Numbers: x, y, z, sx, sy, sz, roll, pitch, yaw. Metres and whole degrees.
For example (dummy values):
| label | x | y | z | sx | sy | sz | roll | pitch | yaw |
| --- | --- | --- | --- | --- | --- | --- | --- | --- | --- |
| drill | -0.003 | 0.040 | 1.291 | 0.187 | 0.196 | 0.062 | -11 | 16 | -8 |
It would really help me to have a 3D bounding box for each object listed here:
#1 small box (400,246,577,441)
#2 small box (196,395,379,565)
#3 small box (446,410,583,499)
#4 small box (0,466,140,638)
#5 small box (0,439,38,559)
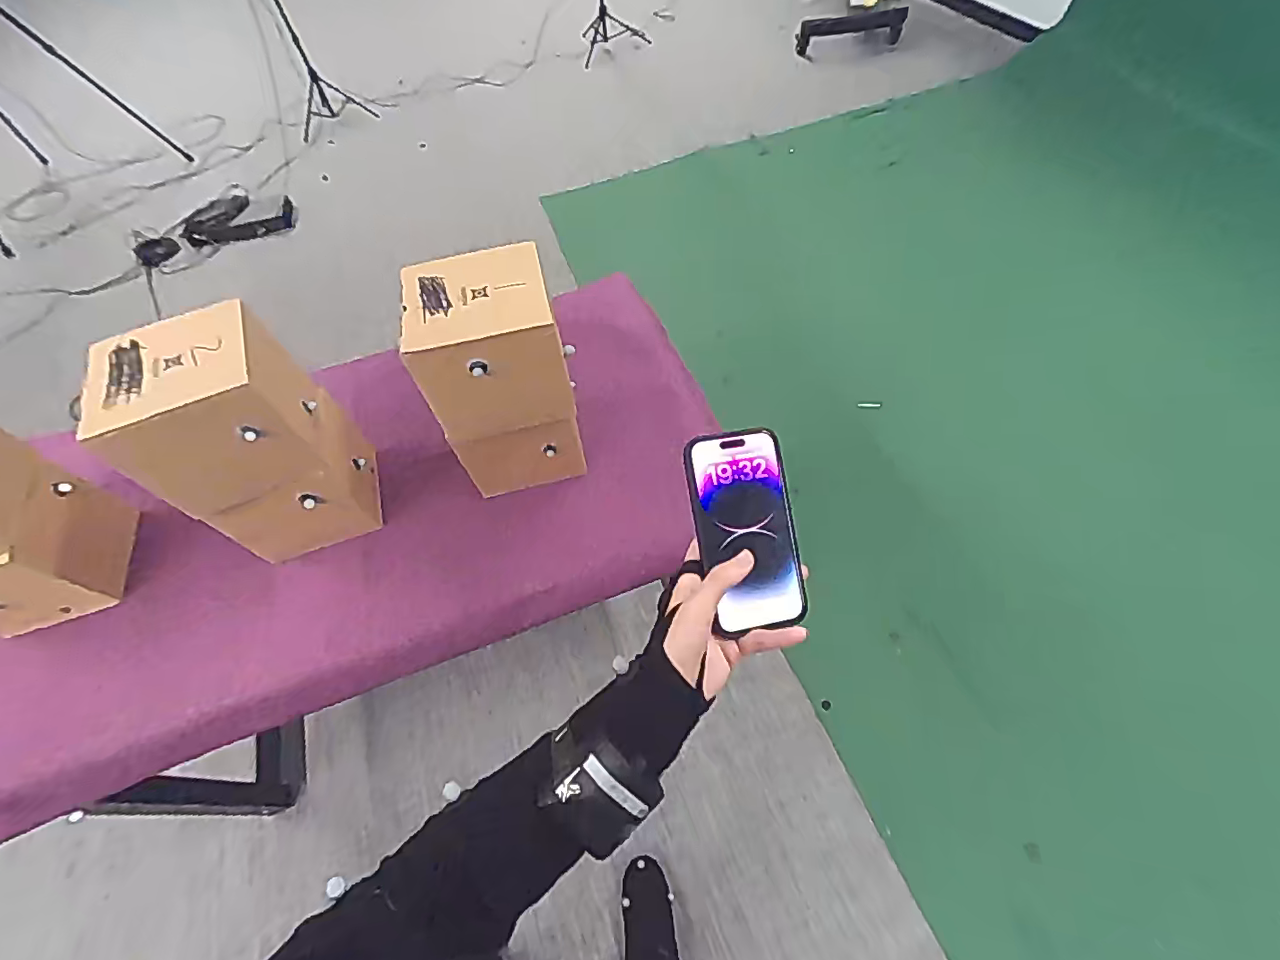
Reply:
| label | x | y | z | sx | sy | sz | roll | pitch | yaw |
| --- | --- | --- | --- | --- | --- | --- | --- | --- | --- |
| small box | -0.194 | -0.173 | 0.715 | 0.179 | 0.176 | 0.168 | -14 | 56 | -4 |
| small box | -0.518 | 0.005 | 0.824 | 0.179 | 0.176 | 0.168 | -19 | 57 | -7 |
| small box | -0.193 | -0.092 | 0.858 | 0.179 | 0.176 | 0.168 | -14 | 56 | -3 |
| small box | -0.892 | 0.114 | 0.791 | 0.168 | 0.176 | 0.179 | -18 | 57 | -6 |
| small box | -0.908 | 0.018 | 0.658 | 0.168 | 0.176 | 0.179 | -22 | 58 | -10 |
